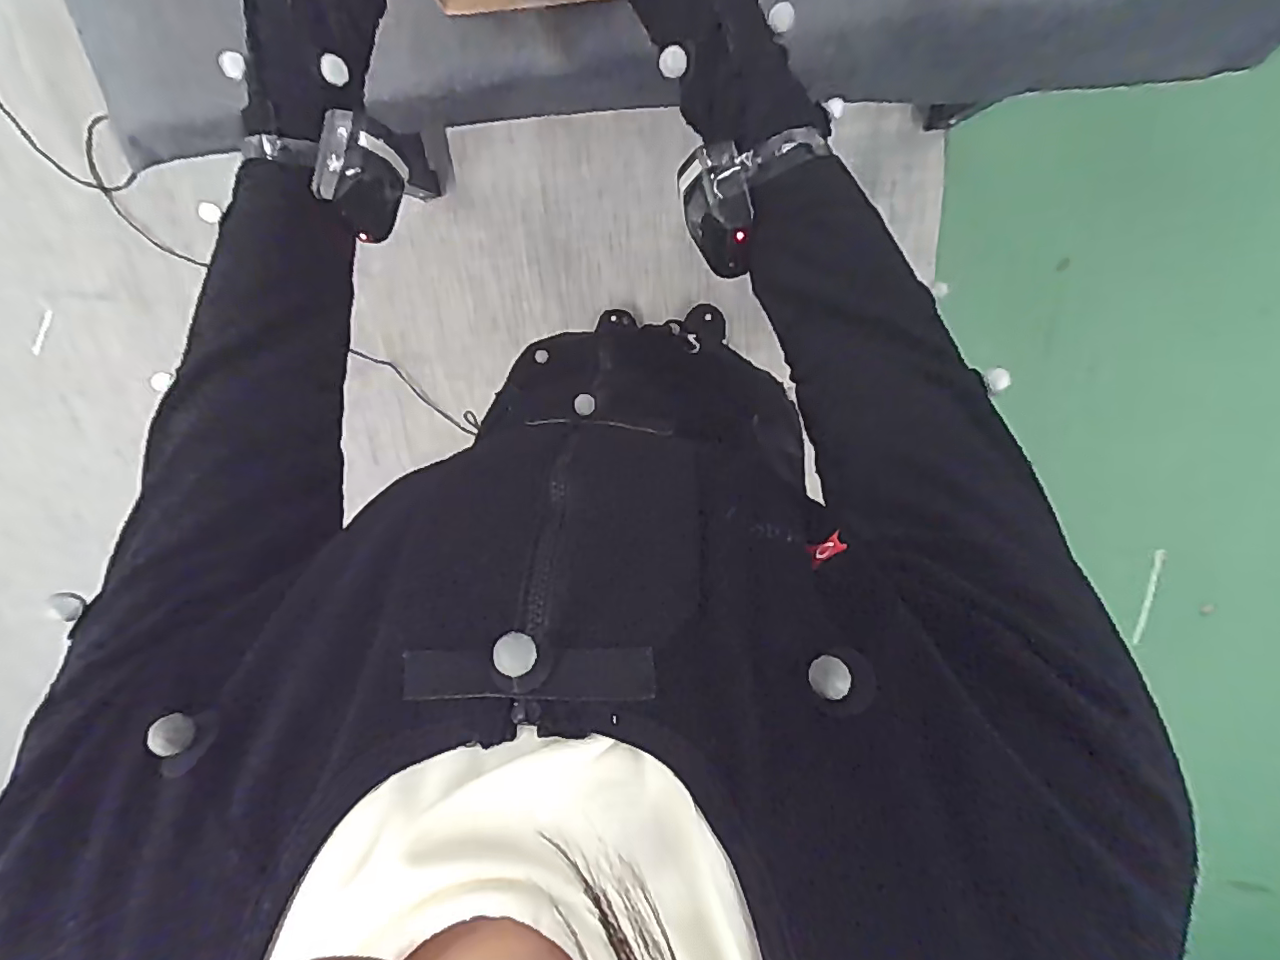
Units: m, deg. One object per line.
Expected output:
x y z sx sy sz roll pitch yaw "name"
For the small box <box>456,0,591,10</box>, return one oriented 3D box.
-0.104 -0.512 0.425 0.179 0.176 0.168 -3 109 4 "small box"
